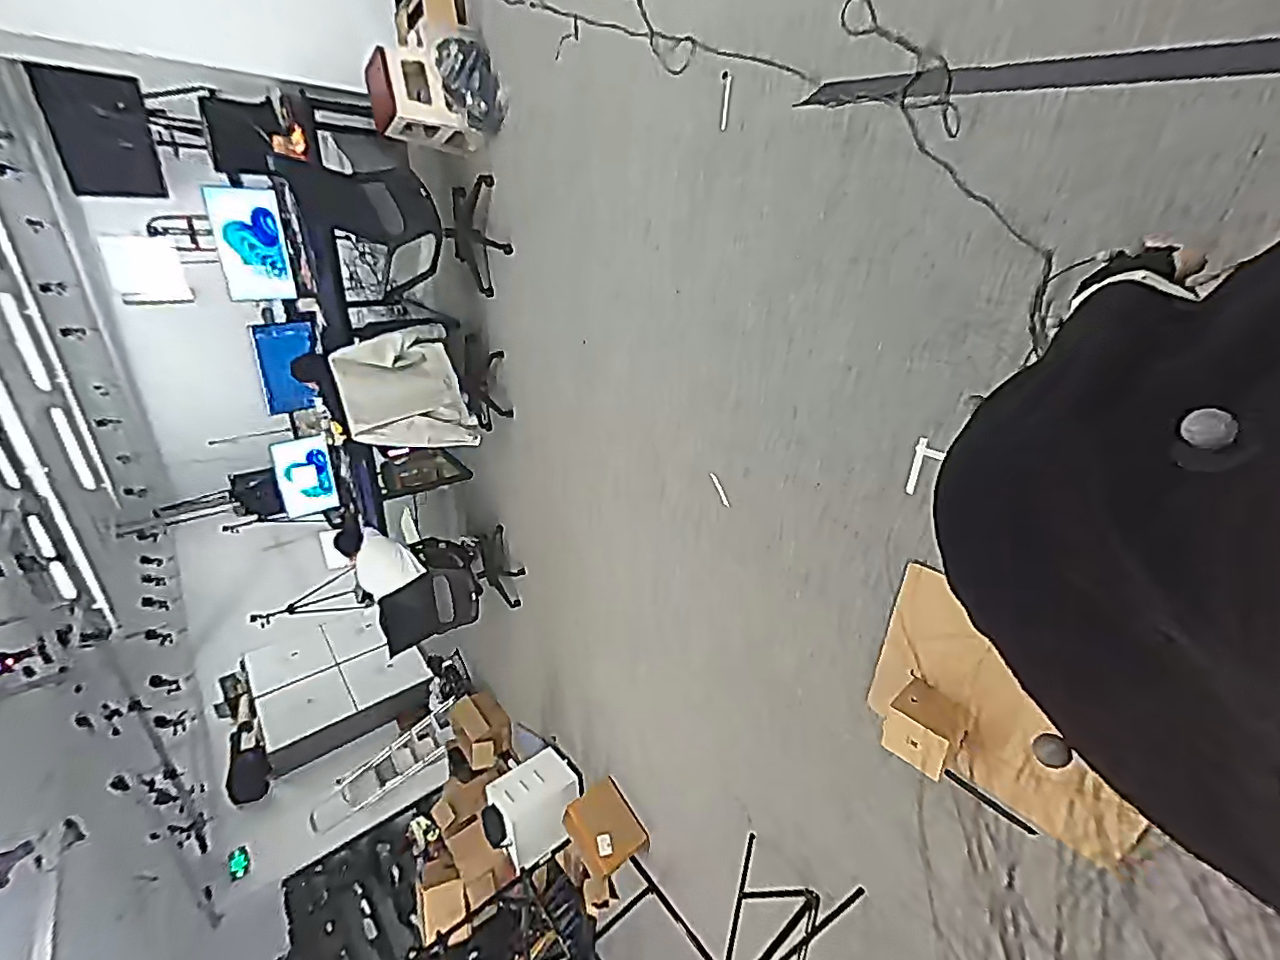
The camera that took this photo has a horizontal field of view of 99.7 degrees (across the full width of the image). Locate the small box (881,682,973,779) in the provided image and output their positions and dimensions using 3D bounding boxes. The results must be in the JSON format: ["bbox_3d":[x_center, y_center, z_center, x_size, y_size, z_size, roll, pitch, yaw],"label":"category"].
[{"bbox_3d":[0.864,0.743,1.630,0.179,0.176,0.168,23,124,44],"label":"small box"}]
